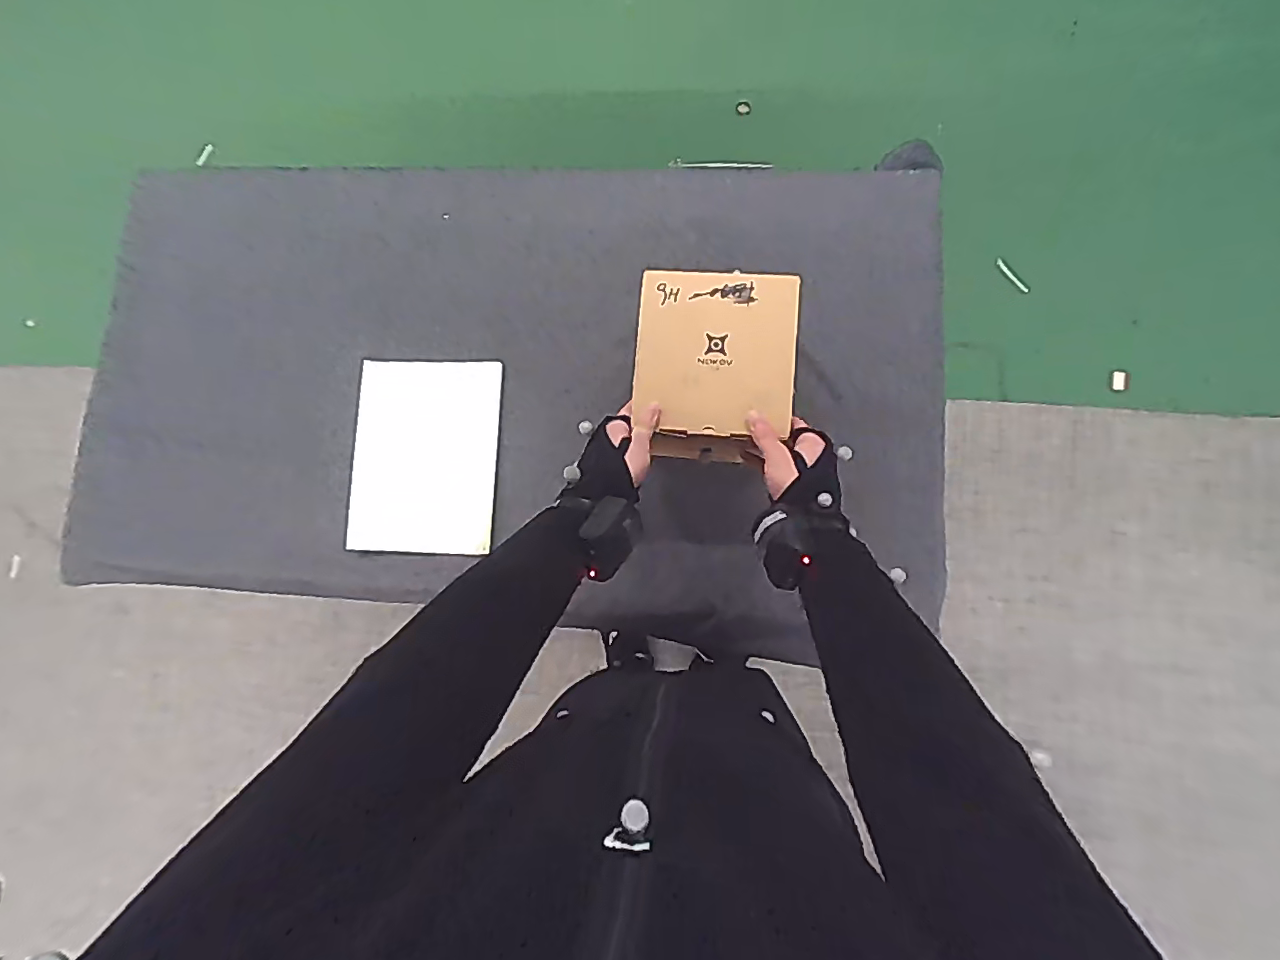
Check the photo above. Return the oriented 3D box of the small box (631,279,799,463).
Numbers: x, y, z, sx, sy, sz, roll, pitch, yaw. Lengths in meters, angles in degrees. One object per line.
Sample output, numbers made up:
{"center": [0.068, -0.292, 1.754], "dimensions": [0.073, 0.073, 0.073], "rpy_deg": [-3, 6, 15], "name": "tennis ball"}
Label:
{"center": [0.086, -0.117, 0.642], "dimensions": [0.168, 0.176, 0.179], "rpy_deg": [4, 86, 5], "name": "small box"}
